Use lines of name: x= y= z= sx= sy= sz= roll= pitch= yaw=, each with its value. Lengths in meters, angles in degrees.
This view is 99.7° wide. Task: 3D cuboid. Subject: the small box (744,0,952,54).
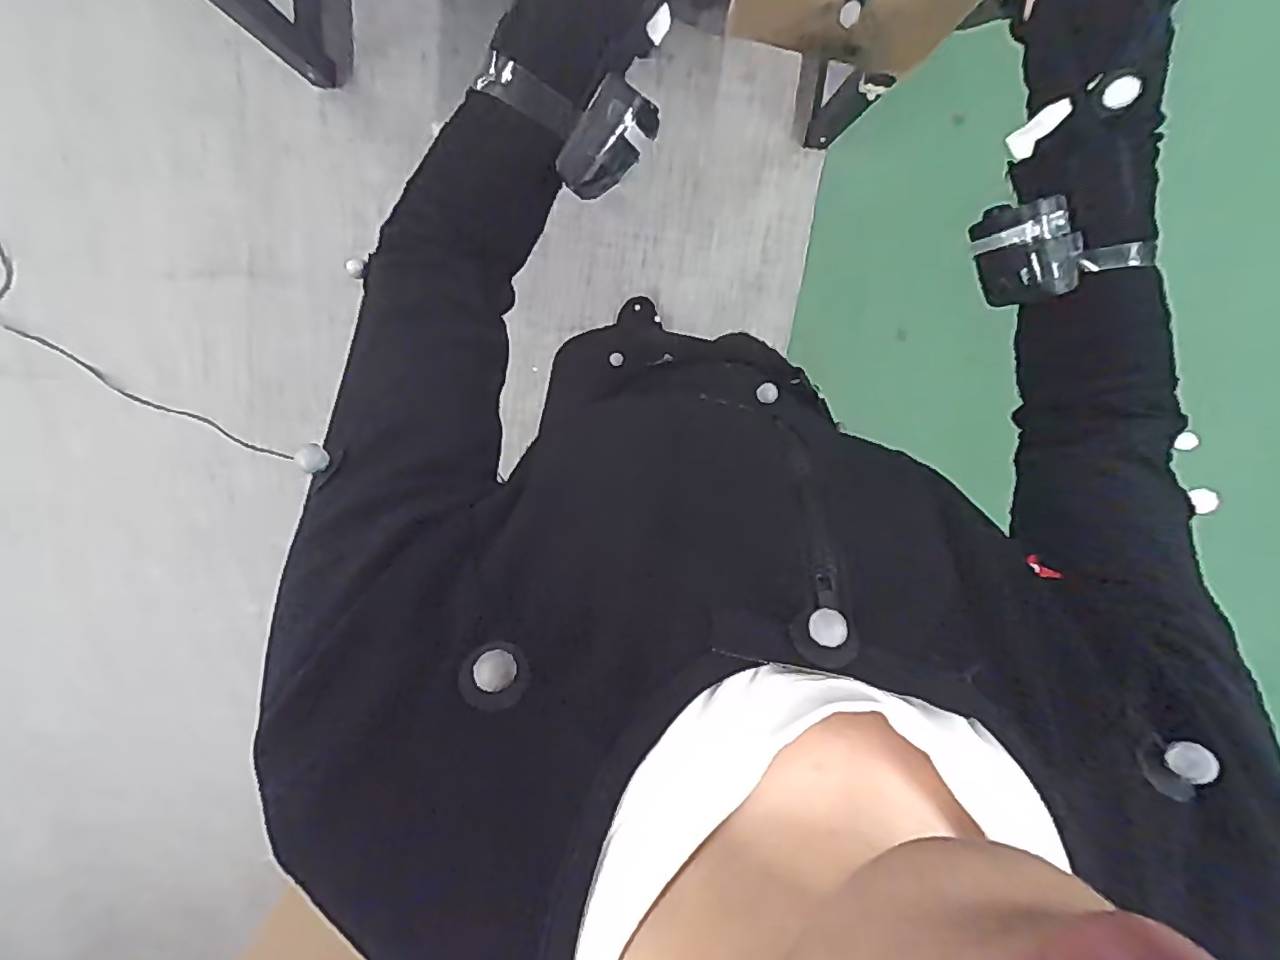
small box: x=0.168 y=-0.438 z=0.364 sx=0.168 sy=0.176 sz=0.179 roll=10 pitch=102 yaw=-5
